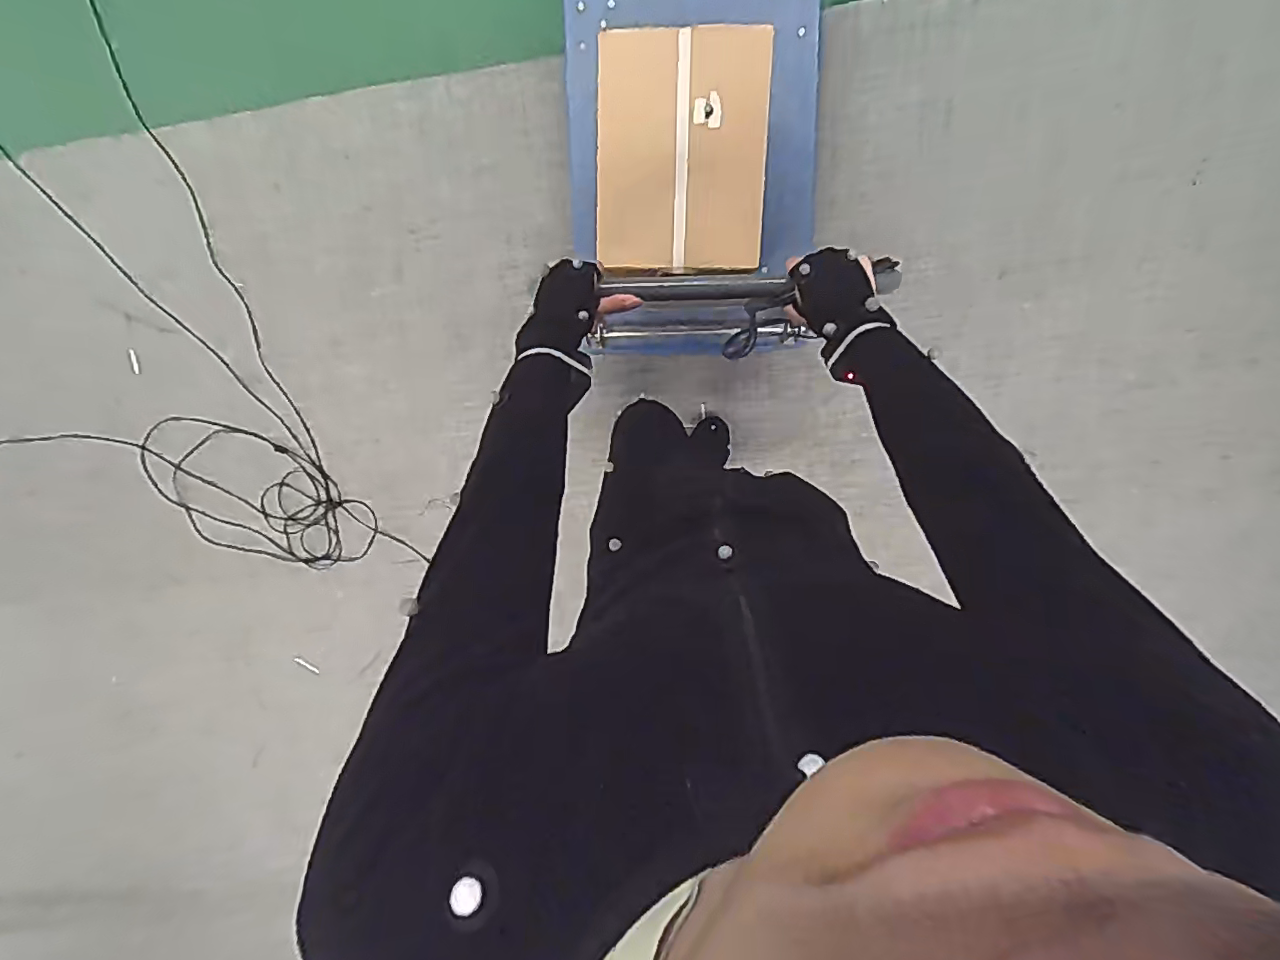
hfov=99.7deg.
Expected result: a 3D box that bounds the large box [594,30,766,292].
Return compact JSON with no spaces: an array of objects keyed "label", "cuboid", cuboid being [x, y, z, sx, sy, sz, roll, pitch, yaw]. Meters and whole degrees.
[{"label":"large box","cuboid":[0.081,-0.630,1.147,0.320,0.320,0.408,2,101,3]}]
